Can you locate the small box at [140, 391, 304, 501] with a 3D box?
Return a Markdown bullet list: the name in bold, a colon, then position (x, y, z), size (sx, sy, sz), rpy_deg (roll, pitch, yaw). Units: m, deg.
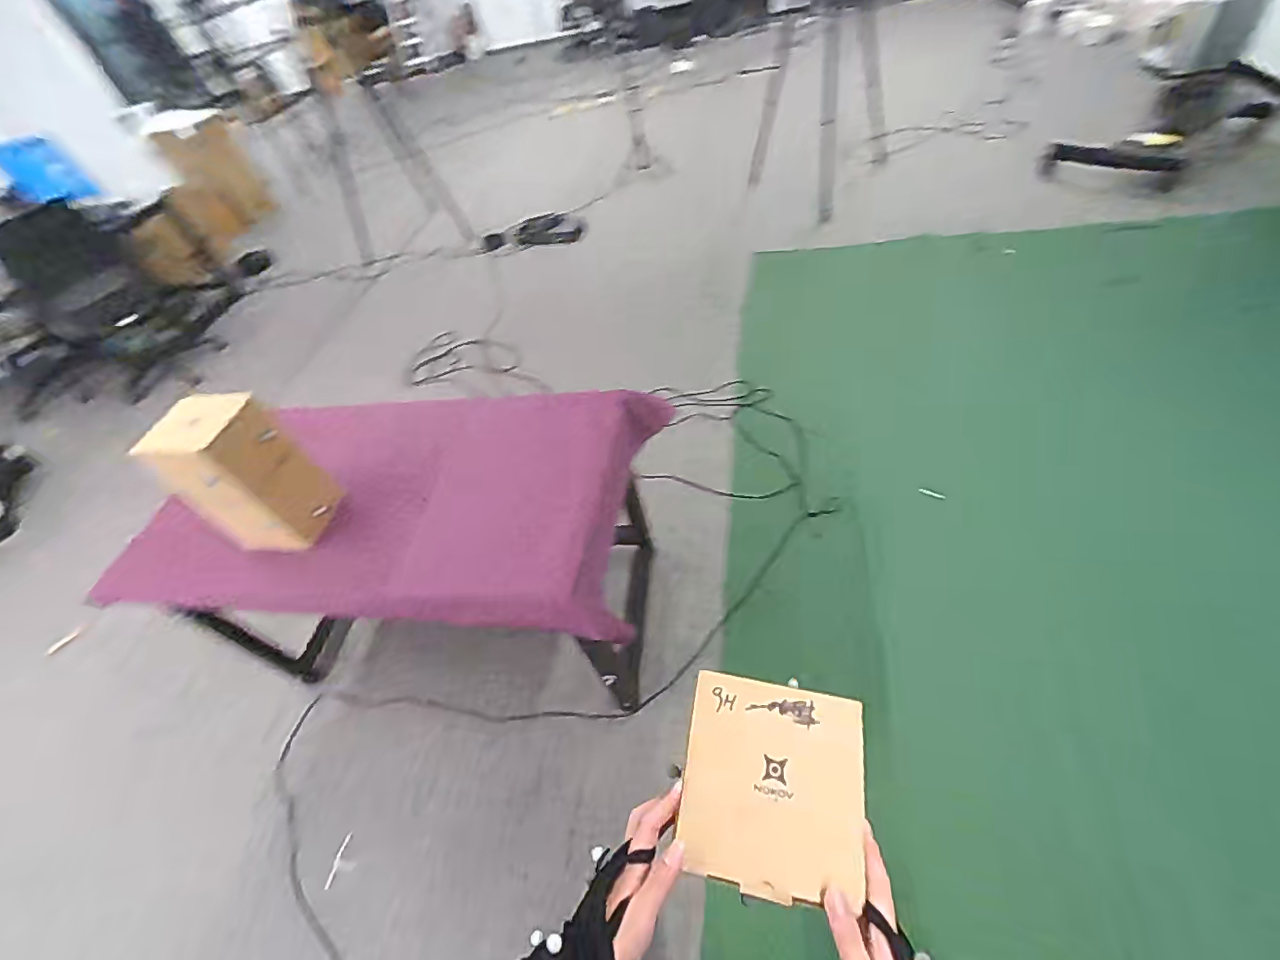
- **small box**: position (-0.857, -0.068, 1.132), size (0.179, 0.176, 0.168), rpy_deg (0, 49, 13)
